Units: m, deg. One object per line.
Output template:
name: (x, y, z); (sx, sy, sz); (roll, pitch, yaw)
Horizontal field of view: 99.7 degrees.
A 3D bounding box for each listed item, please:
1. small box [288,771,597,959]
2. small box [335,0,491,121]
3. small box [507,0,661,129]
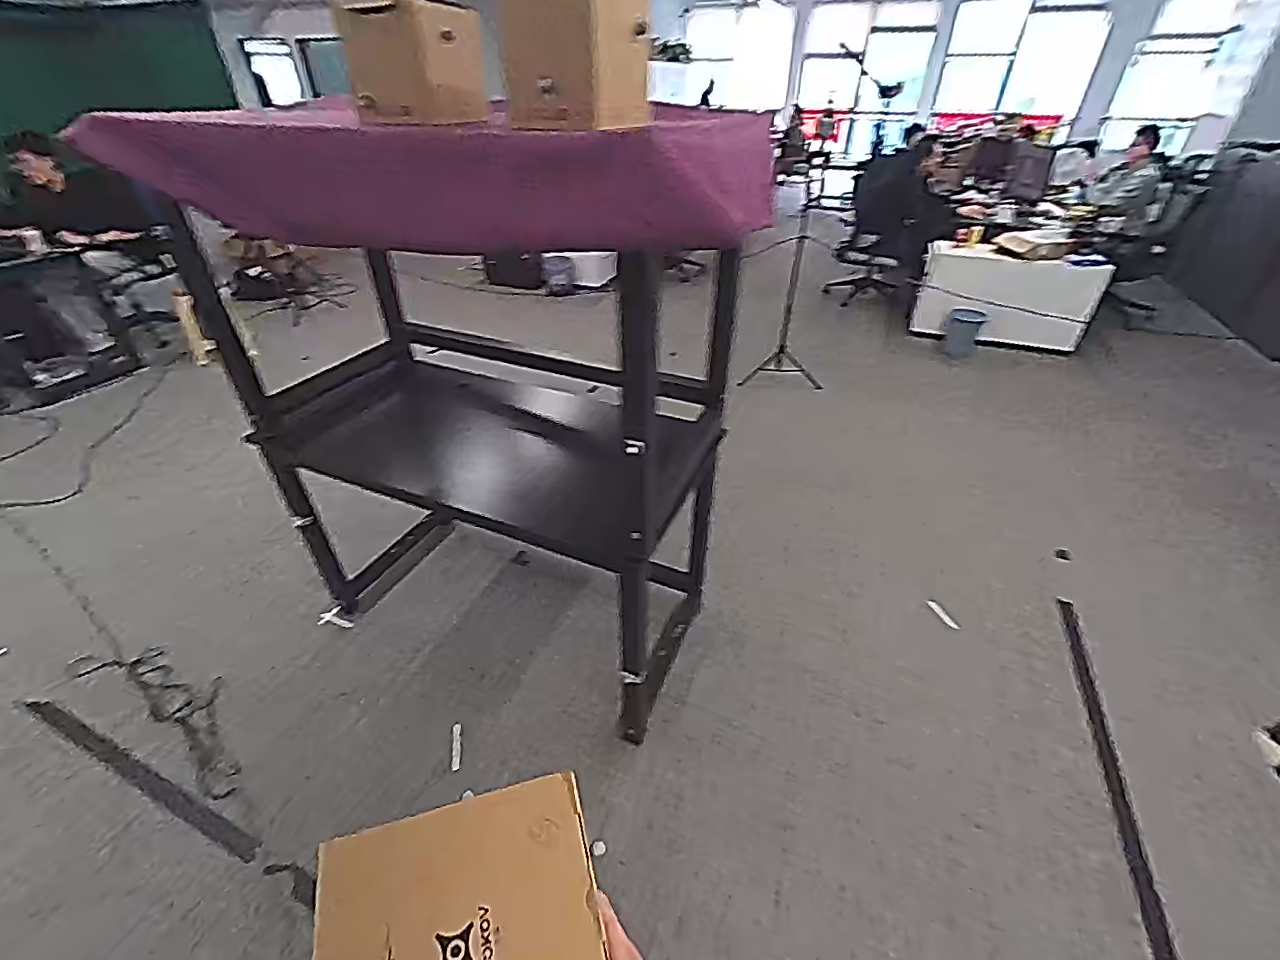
small box: (-0.125, 0.336, 0.386); (0.179, 0.176, 0.168); (-10, 50, -14)
small box: (-0.377, -0.726, 0.937); (0.168, 0.176, 0.179); (12, 37, 15)
small box: (-0.082, -0.637, 0.814); (0.168, 0.176, 0.179); (17, 39, 23)
